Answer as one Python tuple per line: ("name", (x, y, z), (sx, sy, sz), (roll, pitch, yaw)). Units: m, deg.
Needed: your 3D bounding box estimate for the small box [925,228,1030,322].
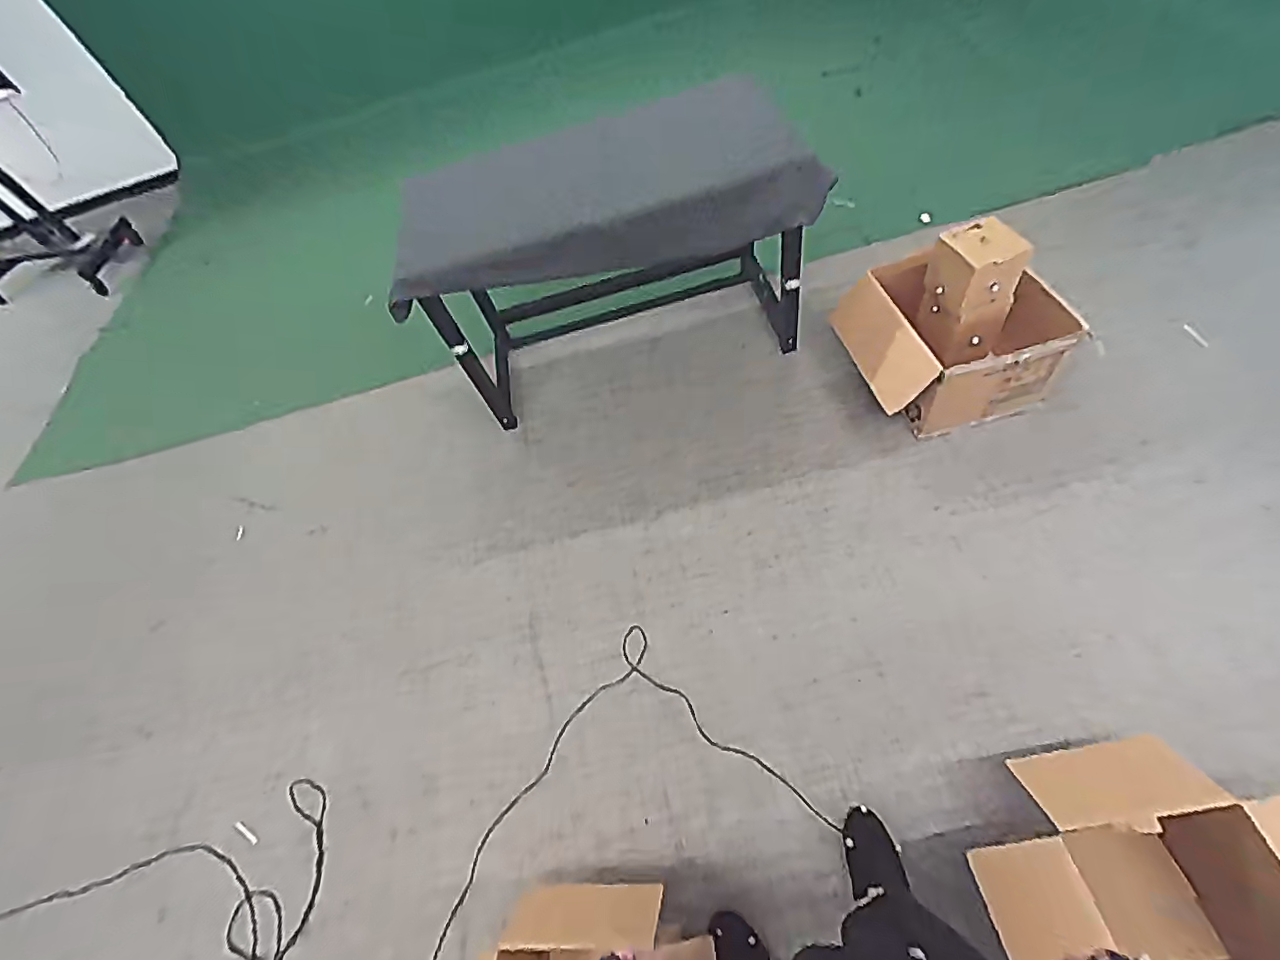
("small box", (0.958, -0.578, 1.552), (0.168, 0.176, 0.179), (-21, 54, -1))
